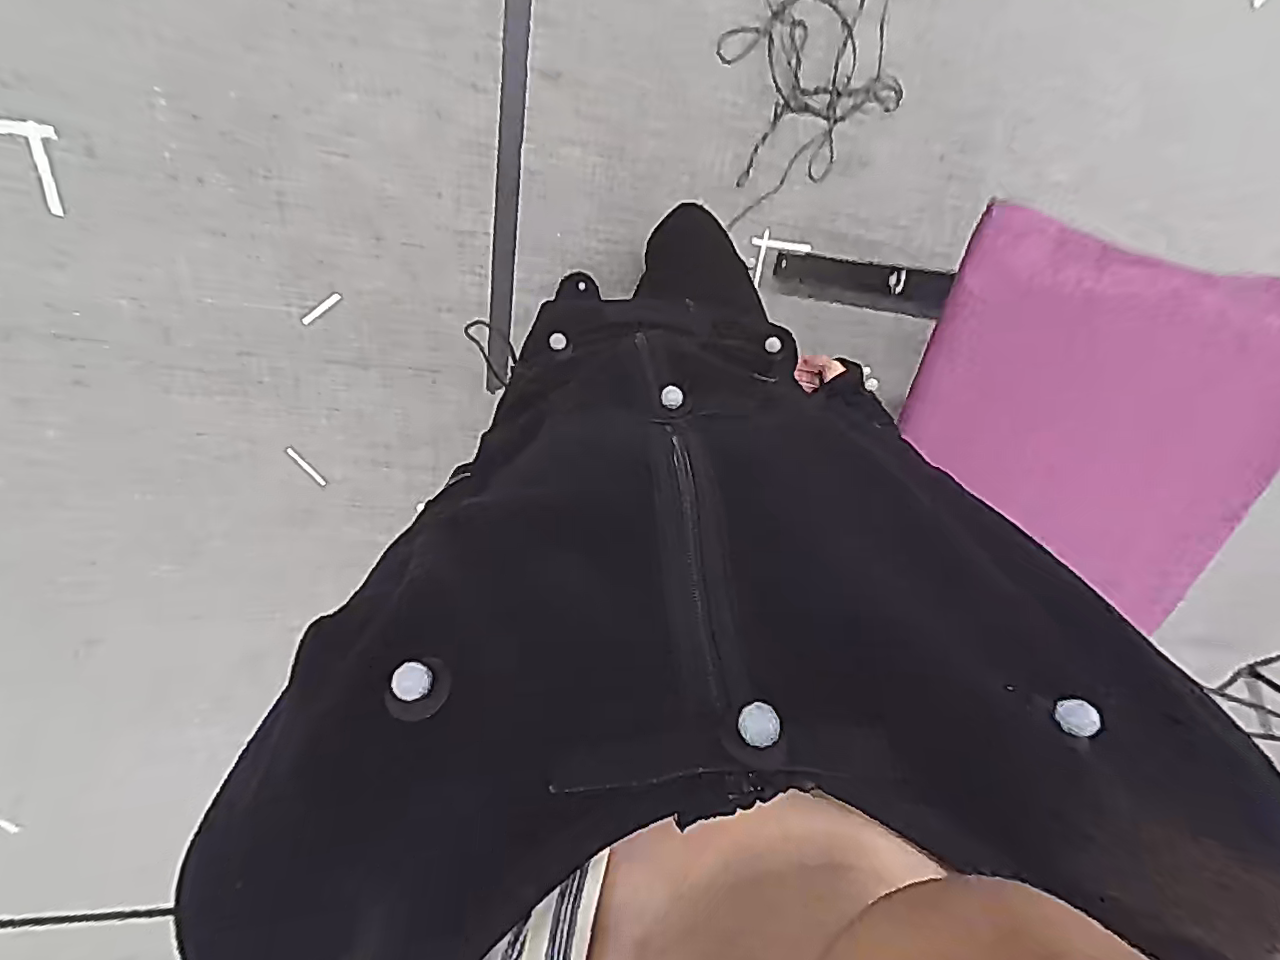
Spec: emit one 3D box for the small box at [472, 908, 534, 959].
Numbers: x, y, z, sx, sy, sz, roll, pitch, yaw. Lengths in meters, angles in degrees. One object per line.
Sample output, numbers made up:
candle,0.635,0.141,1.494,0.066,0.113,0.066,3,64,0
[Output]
small box,-0.421,1.457,1.657,0.179,0.176,0.168,3,116,-11
